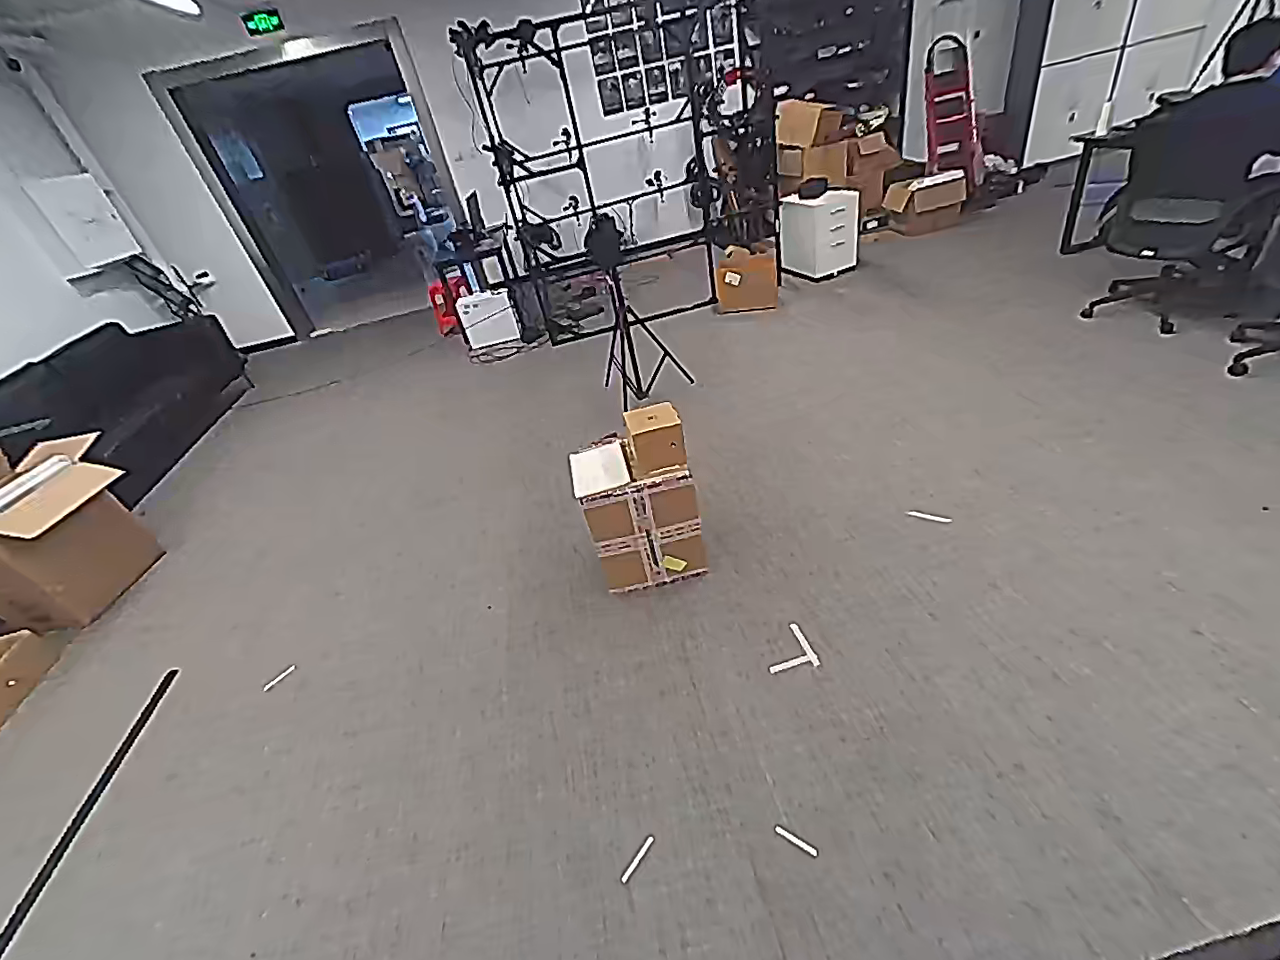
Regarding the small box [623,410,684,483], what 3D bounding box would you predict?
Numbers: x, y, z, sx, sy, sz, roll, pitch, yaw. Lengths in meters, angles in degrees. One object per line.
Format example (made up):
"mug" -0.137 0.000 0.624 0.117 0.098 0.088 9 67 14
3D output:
"small box" 0.050 -0.116 1.878 0.179 0.176 0.168 -15 36 -4
